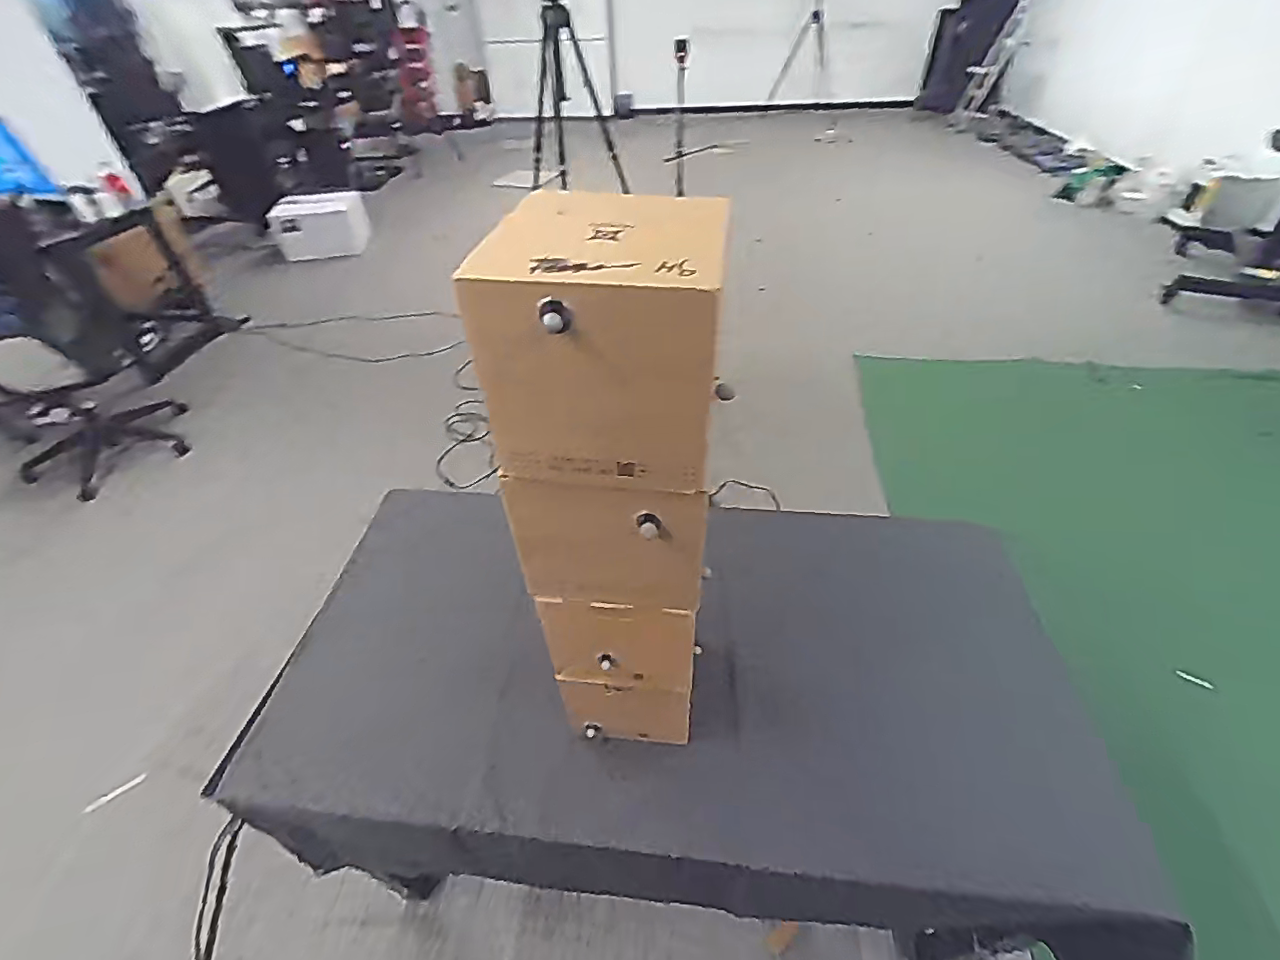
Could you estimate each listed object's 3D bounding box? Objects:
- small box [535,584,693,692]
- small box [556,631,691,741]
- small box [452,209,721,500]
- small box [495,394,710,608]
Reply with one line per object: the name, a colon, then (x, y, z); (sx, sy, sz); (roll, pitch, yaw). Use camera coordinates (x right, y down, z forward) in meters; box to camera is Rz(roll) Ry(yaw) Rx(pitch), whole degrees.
small box: (-0.018, 0.133, 0.668); (0.168, 0.176, 0.179); (2, 43, 6)
small box: (-0.012, 0.253, 0.777); (0.168, 0.176, 0.179); (2, 42, 6)
small box: (-0.026, -0.107, 0.444); (0.168, 0.176, 0.179); (4, 43, 8)
small box: (-0.024, 0.014, 0.555); (0.179, 0.176, 0.168); (3, 43, 7)
